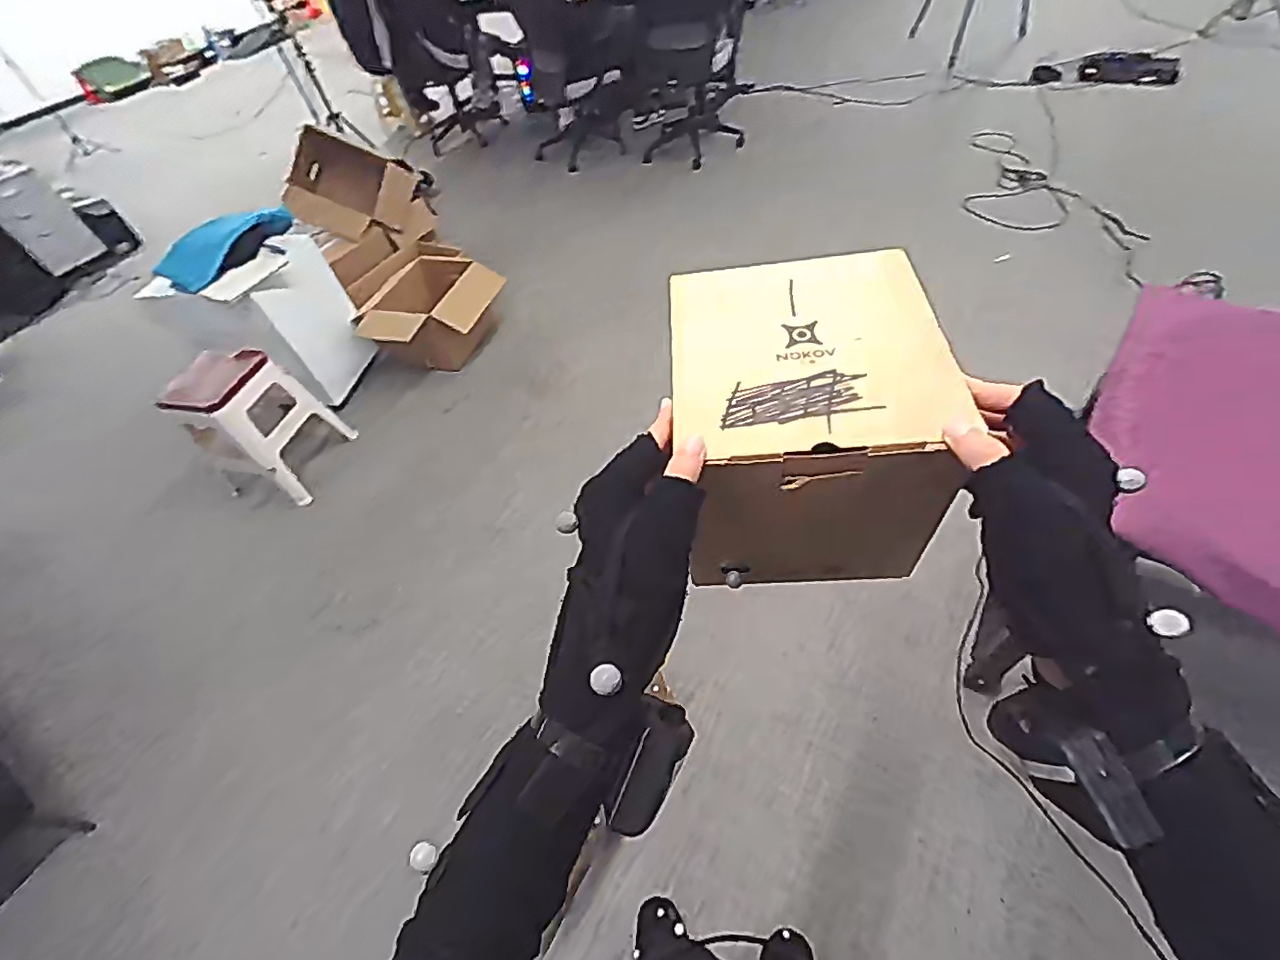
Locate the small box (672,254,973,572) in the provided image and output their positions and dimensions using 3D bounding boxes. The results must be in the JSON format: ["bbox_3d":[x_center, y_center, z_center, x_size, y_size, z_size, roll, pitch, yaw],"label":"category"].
[{"bbox_3d":[0.115,-0.038,0.411,0.168,0.176,0.179,-4,54,8],"label":"small box"}]
